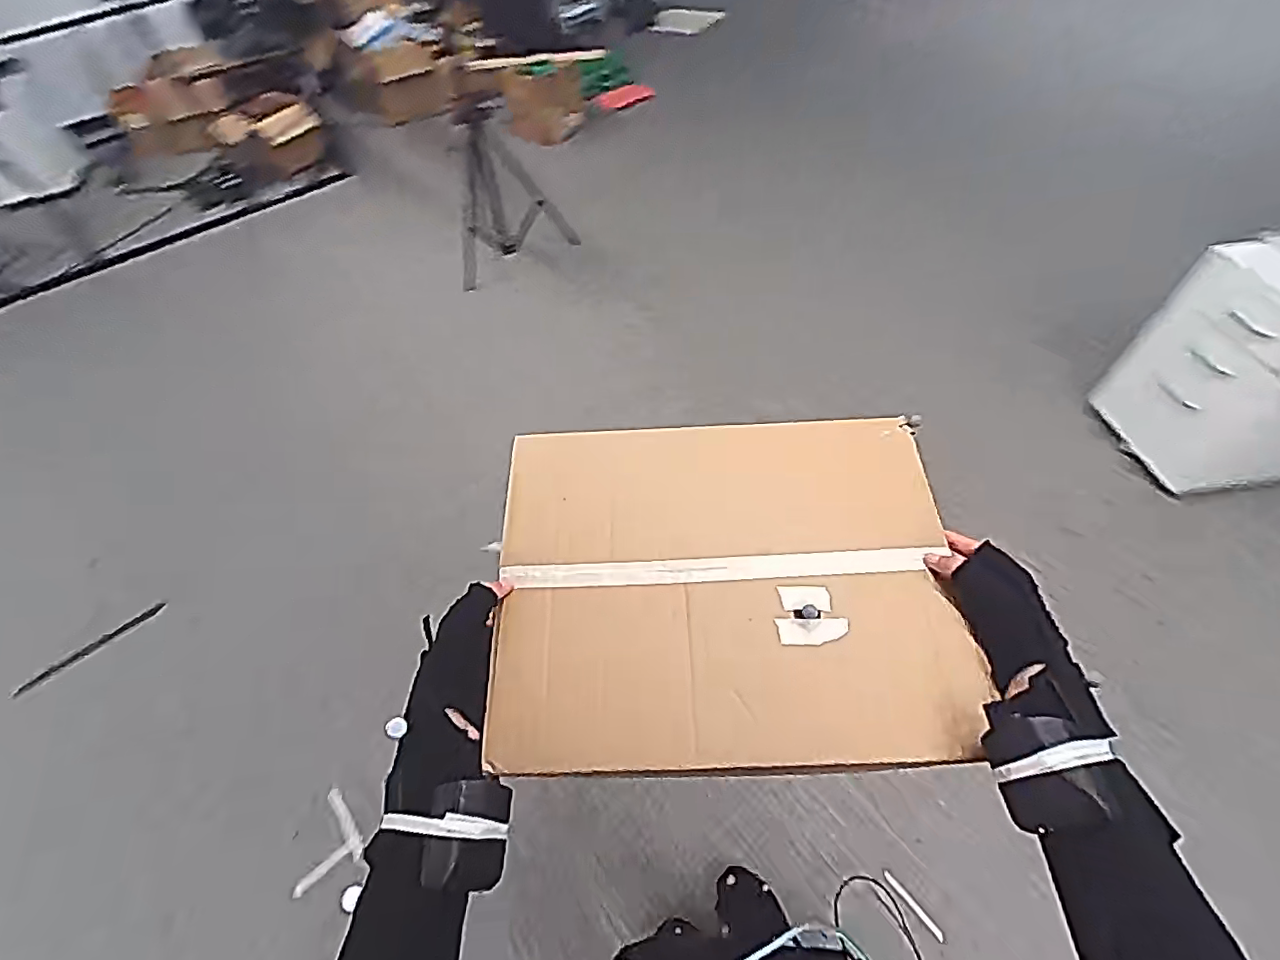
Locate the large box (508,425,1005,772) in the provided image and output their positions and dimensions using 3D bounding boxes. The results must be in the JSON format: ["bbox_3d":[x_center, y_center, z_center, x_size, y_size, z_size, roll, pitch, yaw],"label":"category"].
[{"bbox_3d":[0.091,0.156,0.628,0.408,0.320,0.320,-2,61,2],"label":"large box"}]
